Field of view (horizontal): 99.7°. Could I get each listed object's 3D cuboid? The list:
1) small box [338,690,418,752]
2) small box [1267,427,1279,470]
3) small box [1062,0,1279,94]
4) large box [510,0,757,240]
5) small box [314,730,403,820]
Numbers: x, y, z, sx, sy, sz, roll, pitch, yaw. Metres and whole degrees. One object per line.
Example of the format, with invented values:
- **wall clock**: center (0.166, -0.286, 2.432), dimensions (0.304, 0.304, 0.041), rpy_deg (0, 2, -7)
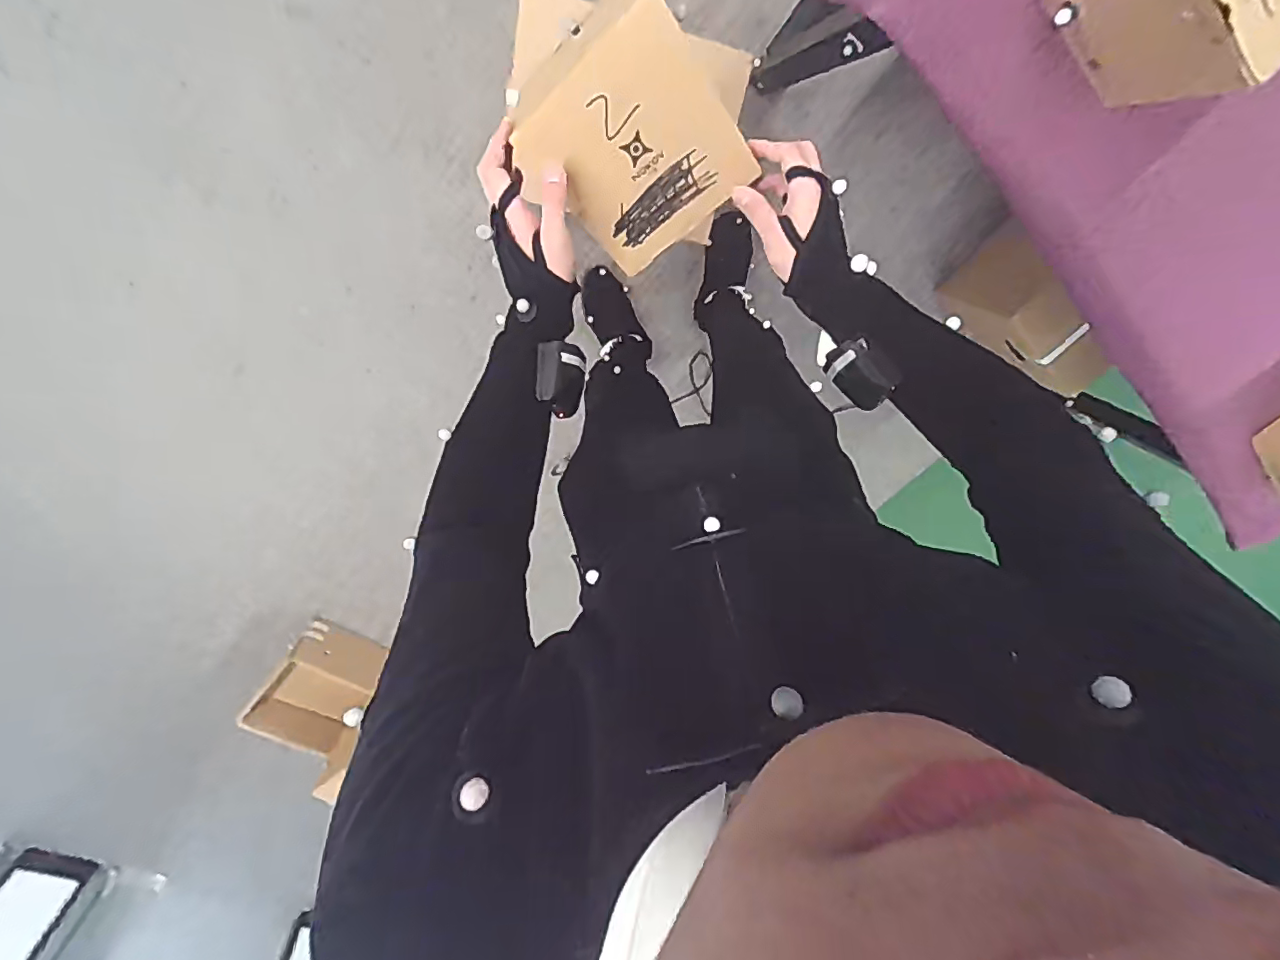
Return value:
- **small box**: center (-0.926, 0.895, 1.931), dimensions (0.179, 0.176, 0.168), rpy_deg (-42, 111, 16)
- **small box**: center (1.136, -0.048, 0.812), dimensions (0.168, 0.176, 0.179), rpy_deg (37, 107, -21)
- **small box**: center (0.544, -0.502, 0.501), dimensions (0.168, 0.176, 0.179), rpy_deg (33, 110, -22)
- **large box**: center (-0.036, -0.704, 1.095), dimensions (0.408, 0.320, 0.320), rpy_deg (8, 119, -11)
- **small box**: center (-0.921, 0.972, 1.788), dimensions (0.179, 0.176, 0.168), rpy_deg (-38, 113, 15)
